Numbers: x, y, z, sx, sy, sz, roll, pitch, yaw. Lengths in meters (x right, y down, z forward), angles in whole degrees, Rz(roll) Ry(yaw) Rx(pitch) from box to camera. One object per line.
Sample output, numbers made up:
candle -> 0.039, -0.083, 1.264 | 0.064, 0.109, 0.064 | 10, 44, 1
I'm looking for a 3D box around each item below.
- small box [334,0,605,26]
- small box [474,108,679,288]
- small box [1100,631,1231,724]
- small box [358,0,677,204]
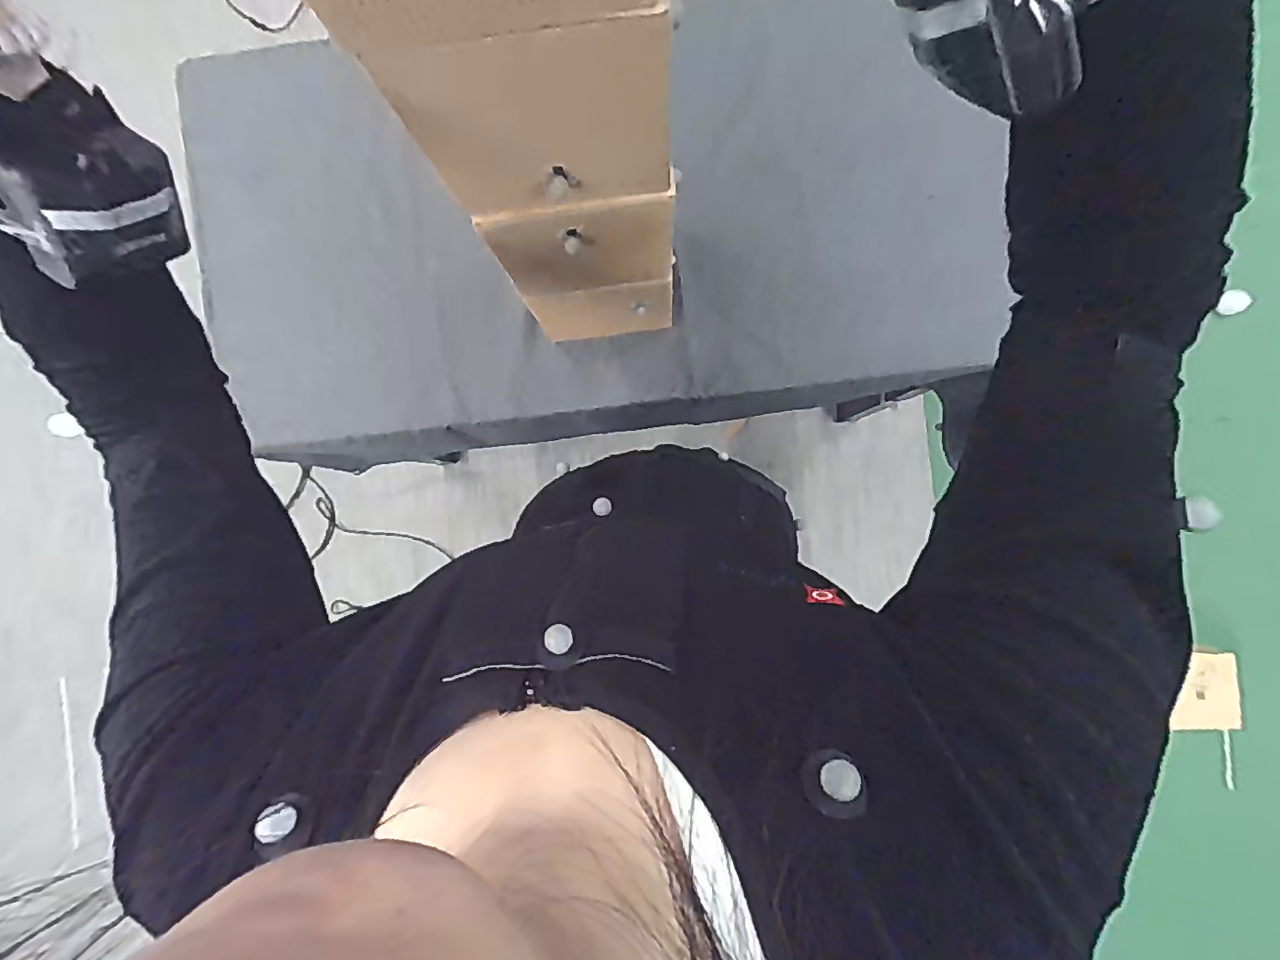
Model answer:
small box -> -0.085, -0.328, 0.211 | 0.179, 0.176, 0.168 | -6, 88, 2
small box -> -0.059, -0.309, 0.538 | 0.179, 0.176, 0.168 | -7, 88, 3
small box -> 1.290, 0.483, 1.338 | 0.168, 0.176, 0.179 | -2, 88, 2
small box -> -0.070, -0.319, 0.375 | 0.179, 0.176, 0.168 | -5, 87, 2
